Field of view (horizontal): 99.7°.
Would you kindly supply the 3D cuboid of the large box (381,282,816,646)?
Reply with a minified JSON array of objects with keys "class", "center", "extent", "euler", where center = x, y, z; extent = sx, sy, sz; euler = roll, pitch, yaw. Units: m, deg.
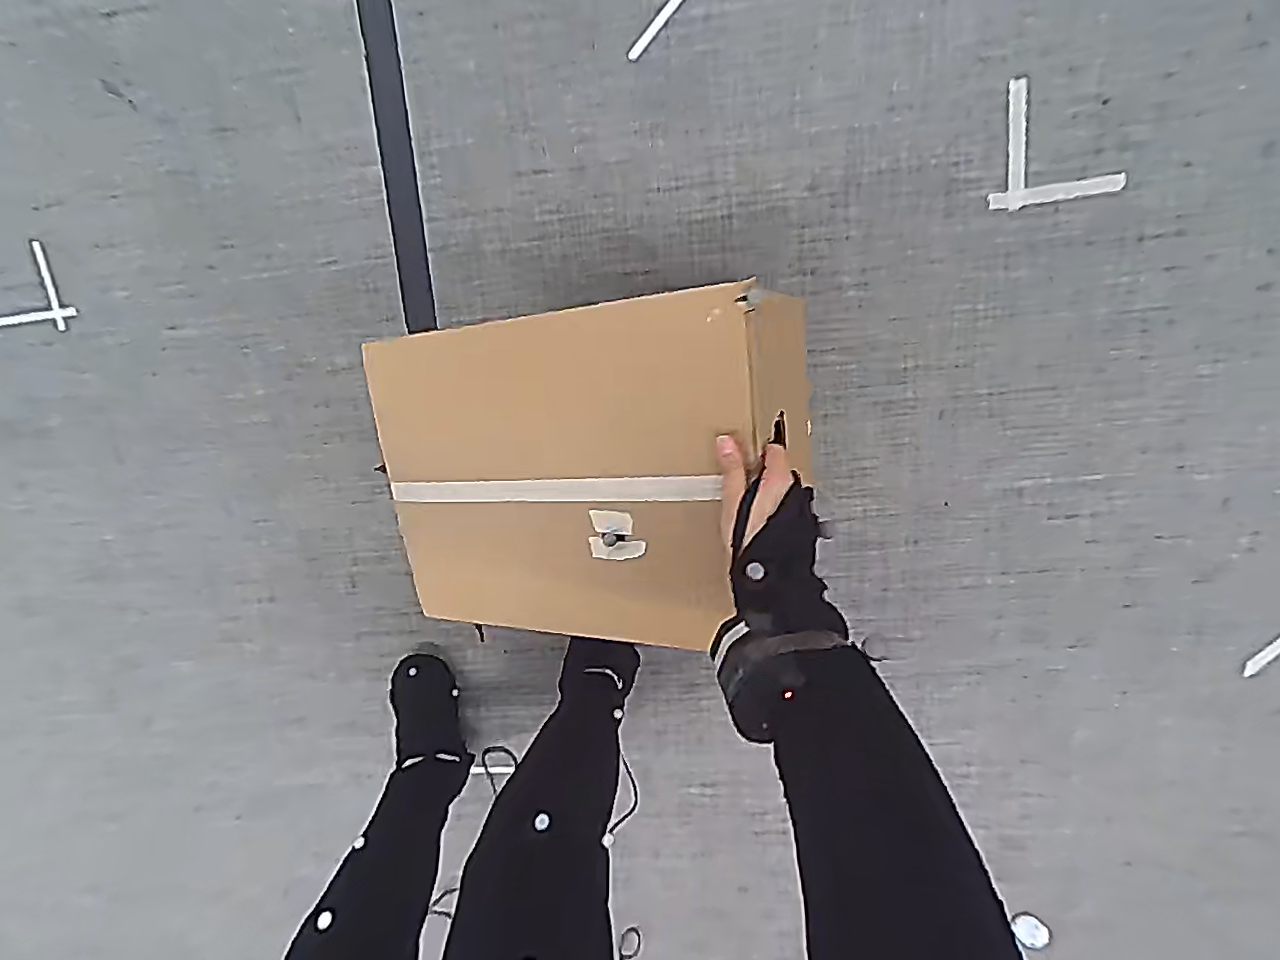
[{"class":"large box","center":[-0.018,-0.034,0.649],"extent":[0.408,0.320,0.320],"euler":[-1,106,24]}]
